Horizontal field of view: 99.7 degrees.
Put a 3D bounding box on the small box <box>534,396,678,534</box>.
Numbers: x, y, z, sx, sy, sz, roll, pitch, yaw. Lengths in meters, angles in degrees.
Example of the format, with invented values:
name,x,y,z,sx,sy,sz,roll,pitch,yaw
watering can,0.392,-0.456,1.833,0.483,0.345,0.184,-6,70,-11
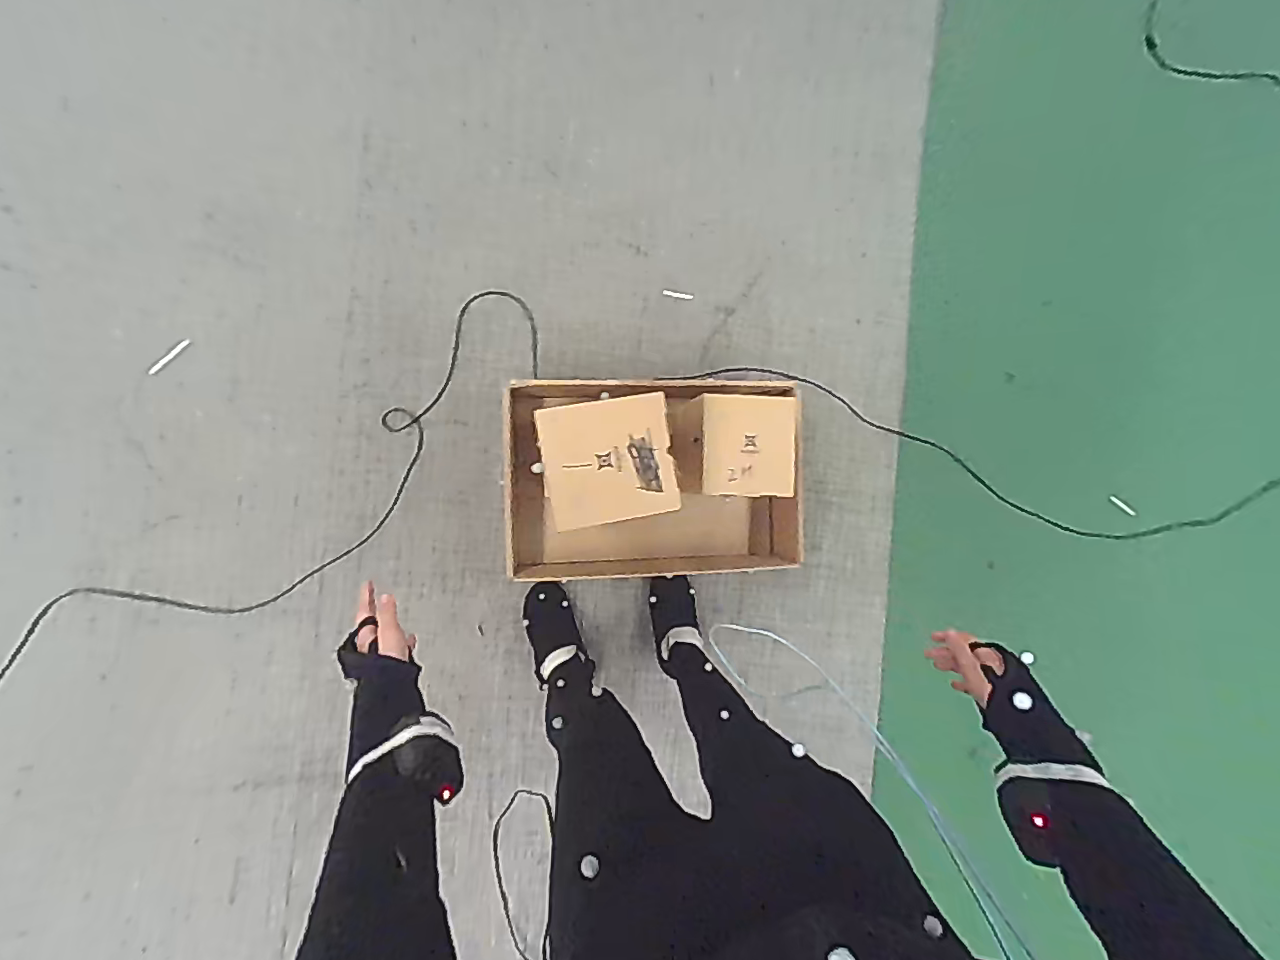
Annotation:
name,x,y,z,sx,sy,sz,roll,pitch,yaw
small box,-0.058,-0.025,0.804,0.179,0.176,0.168,-10,93,-10

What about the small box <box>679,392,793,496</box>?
name,x,y,z,sx,sy,sz,roll,pitch,yaw
small box,0.170,-0.060,1.003,0.168,0.176,0.179,1,91,-8
